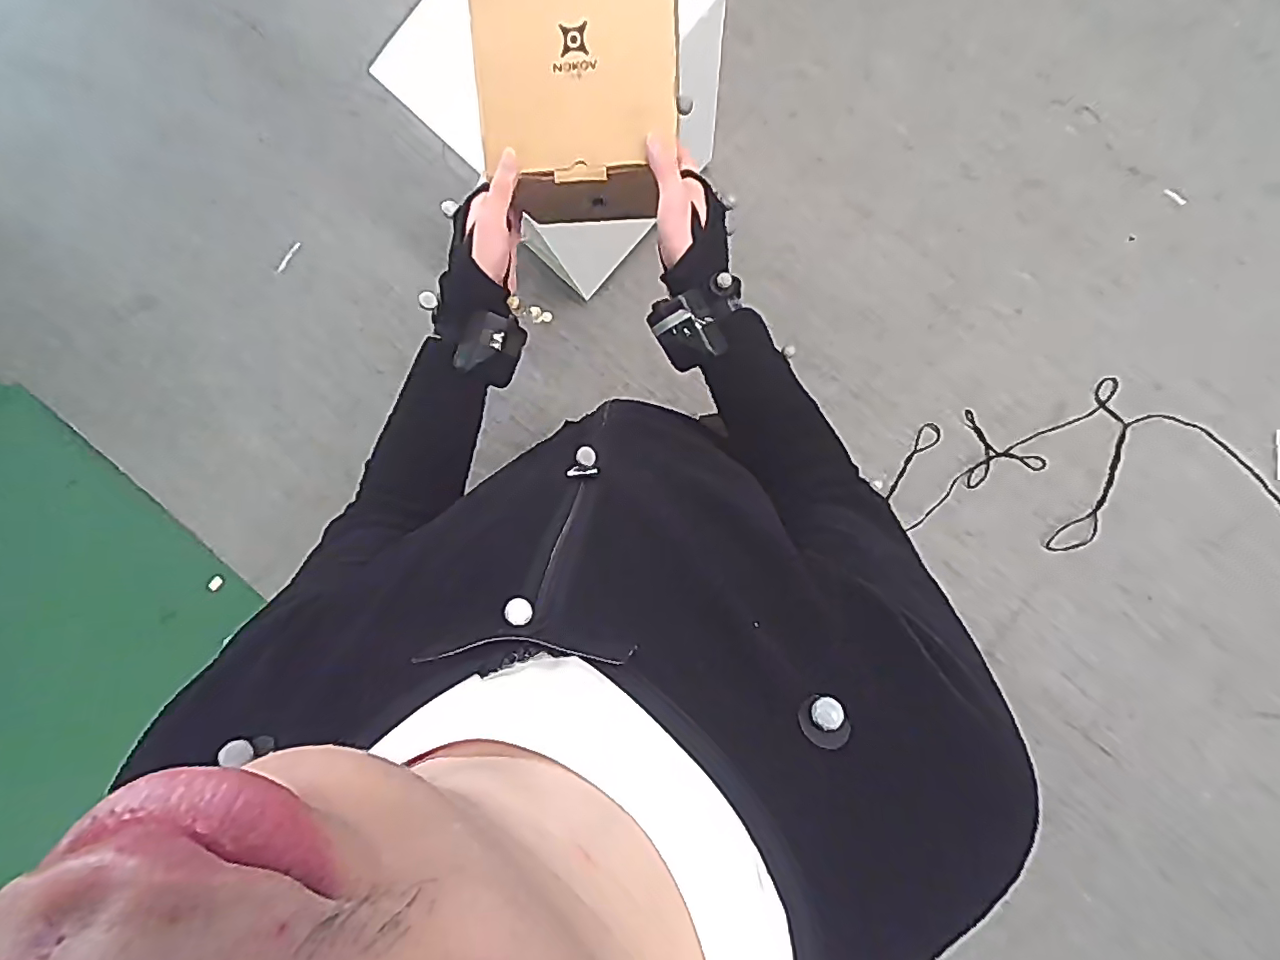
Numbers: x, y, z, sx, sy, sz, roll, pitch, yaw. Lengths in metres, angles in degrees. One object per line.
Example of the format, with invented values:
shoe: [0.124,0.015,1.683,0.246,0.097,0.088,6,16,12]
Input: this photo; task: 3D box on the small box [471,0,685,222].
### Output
small box: [-0.044,-0.359,0.517,0.168,0.176,0.179,-3,102,6]
